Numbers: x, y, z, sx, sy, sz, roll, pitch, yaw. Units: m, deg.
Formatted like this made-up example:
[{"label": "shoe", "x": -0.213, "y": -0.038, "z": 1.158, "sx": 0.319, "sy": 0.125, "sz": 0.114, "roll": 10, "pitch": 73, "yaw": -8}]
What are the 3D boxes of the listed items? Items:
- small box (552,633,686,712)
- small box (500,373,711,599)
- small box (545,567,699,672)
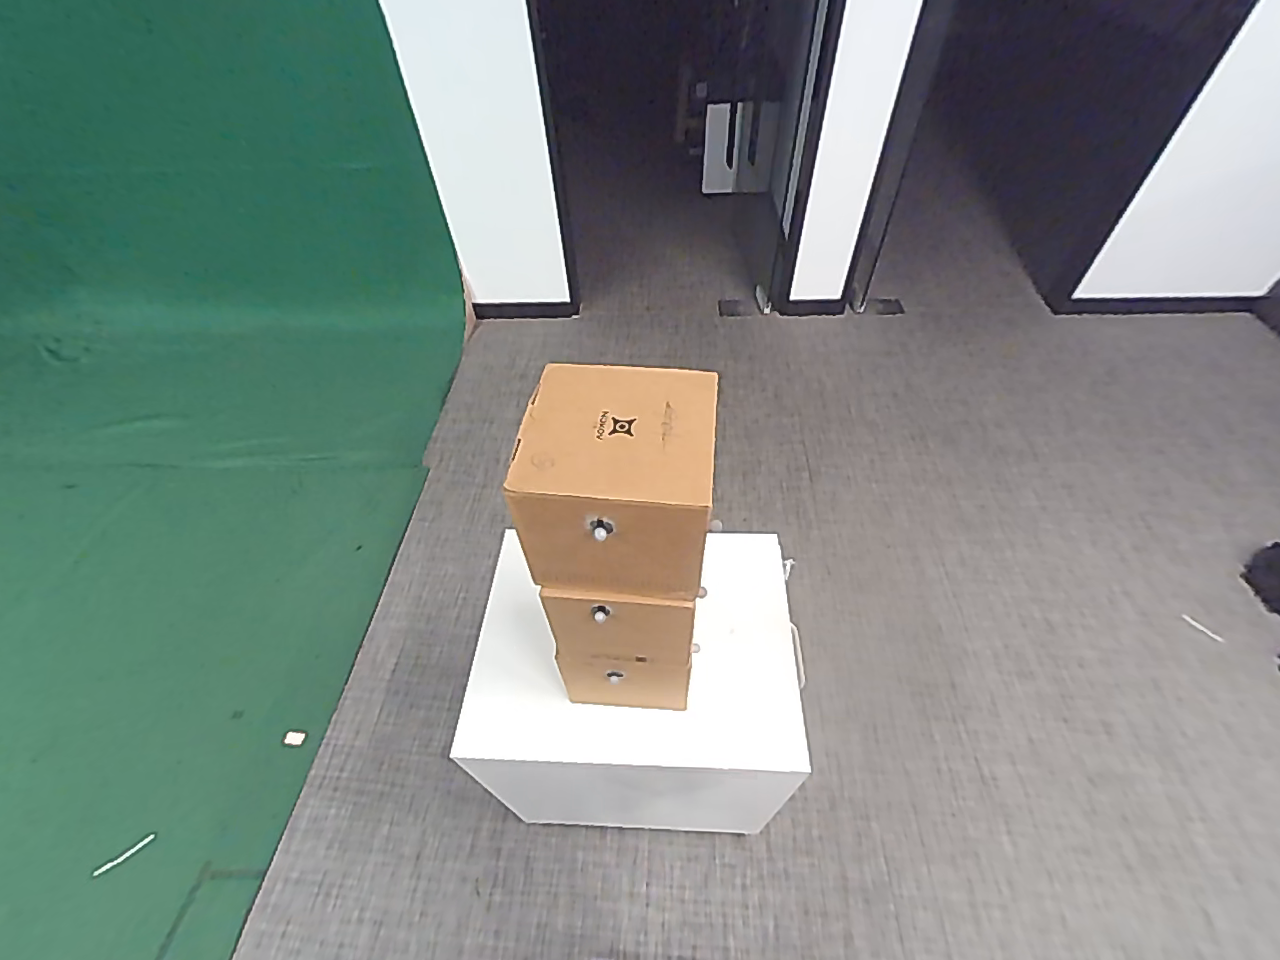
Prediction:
[{"label": "small box", "x": -0.018, "y": 0.230, "z": 0.800, "sx": 0.179, "sy": 0.176, "sz": 0.168, "roll": 3, "pitch": 49, "yaw": 4}, {"label": "small box", "x": -0.022, "y": 0.009, "z": 0.560, "sx": 0.179, "sy": 0.176, "sz": 0.168, "roll": 4, "pitch": 51, "yaw": 5}, {"label": "small box", "x": -0.015, "y": 0.121, "z": 0.681, "sx": 0.168, "sy": 0.176, "sz": 0.179, "roll": 2, "pitch": 50, "yaw": 2}]
